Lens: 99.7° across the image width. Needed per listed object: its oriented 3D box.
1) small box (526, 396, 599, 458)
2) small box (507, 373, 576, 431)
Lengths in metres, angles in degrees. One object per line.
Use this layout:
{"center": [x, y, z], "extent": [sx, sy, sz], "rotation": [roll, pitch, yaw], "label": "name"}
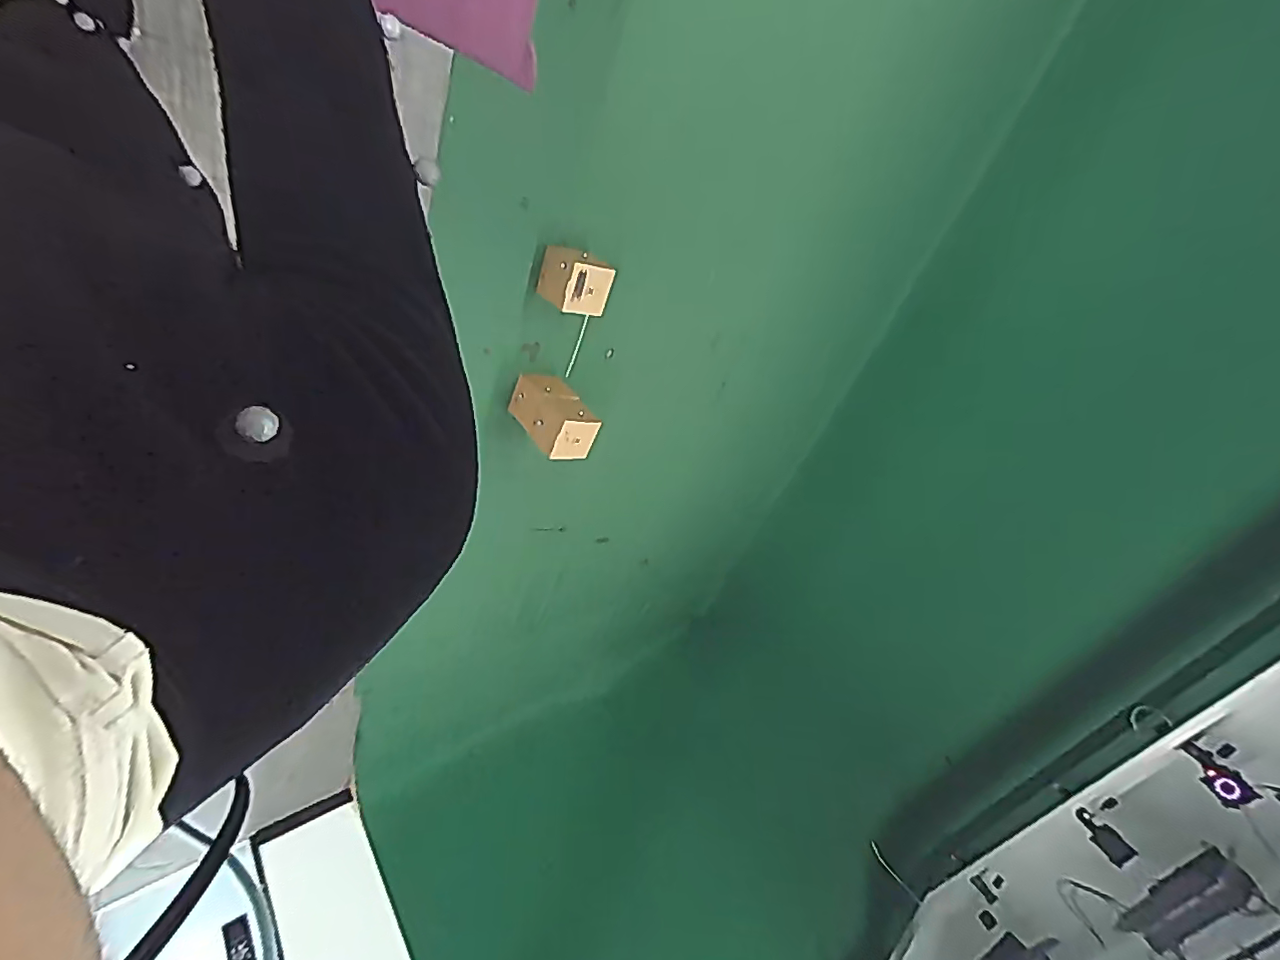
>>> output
{"center": [-0.291, -0.197, 2.002], "extent": [0.179, 0.176, 0.168], "rotation": [-2, 129, -47], "label": "small box"}
{"center": [-0.384, -0.300, 2.091], "extent": [0.179, 0.176, 0.168], "rotation": [-5, 131, -45], "label": "small box"}
